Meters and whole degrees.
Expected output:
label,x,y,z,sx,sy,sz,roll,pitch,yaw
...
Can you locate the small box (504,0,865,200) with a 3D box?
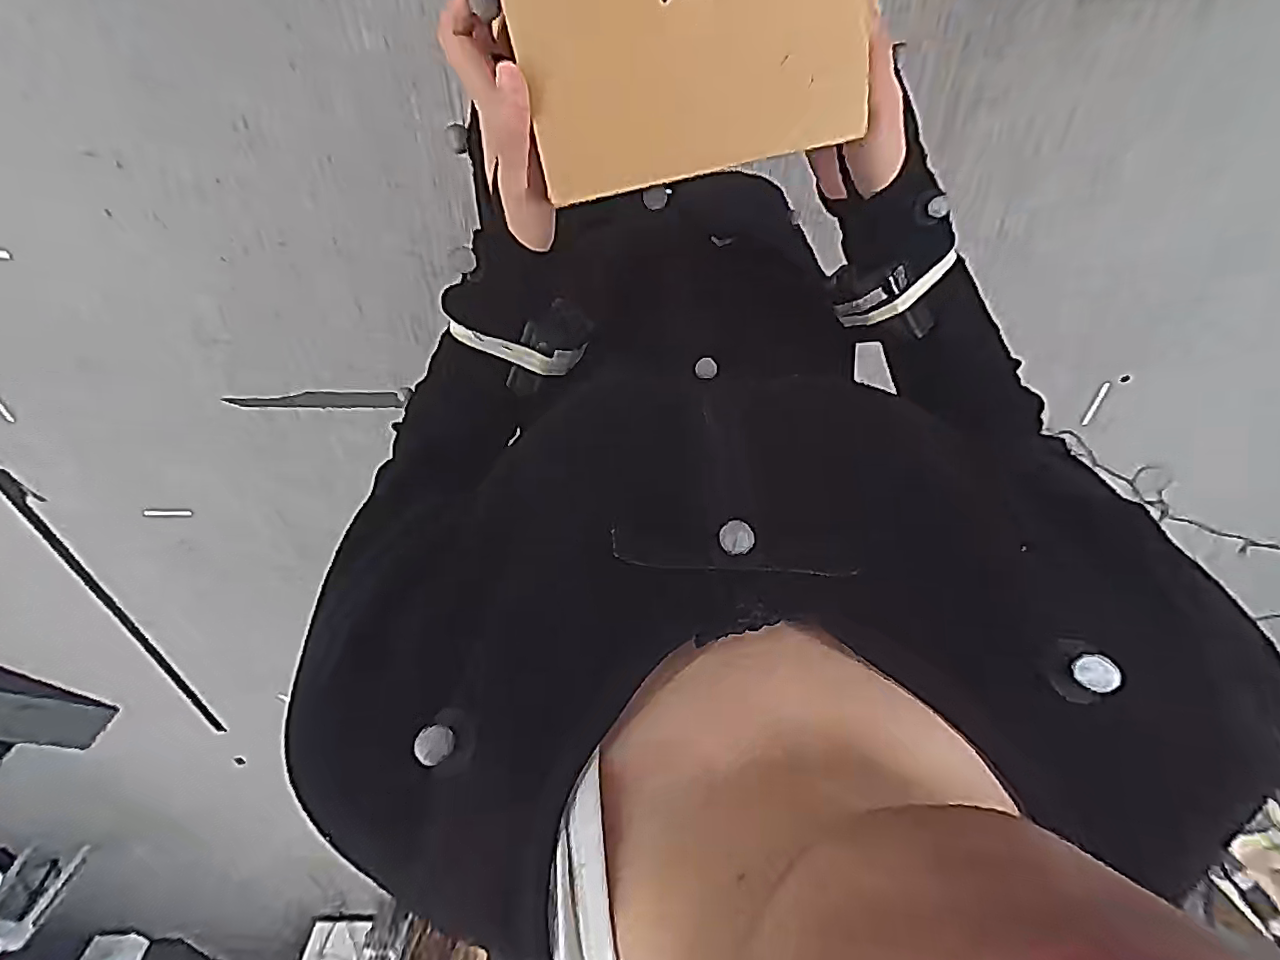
label,x,y,z,sx,sy,sz,roll,pitch,yaw
small box,0.011,-0.274,0.307,0.168,0.176,0.179,-13,118,1
